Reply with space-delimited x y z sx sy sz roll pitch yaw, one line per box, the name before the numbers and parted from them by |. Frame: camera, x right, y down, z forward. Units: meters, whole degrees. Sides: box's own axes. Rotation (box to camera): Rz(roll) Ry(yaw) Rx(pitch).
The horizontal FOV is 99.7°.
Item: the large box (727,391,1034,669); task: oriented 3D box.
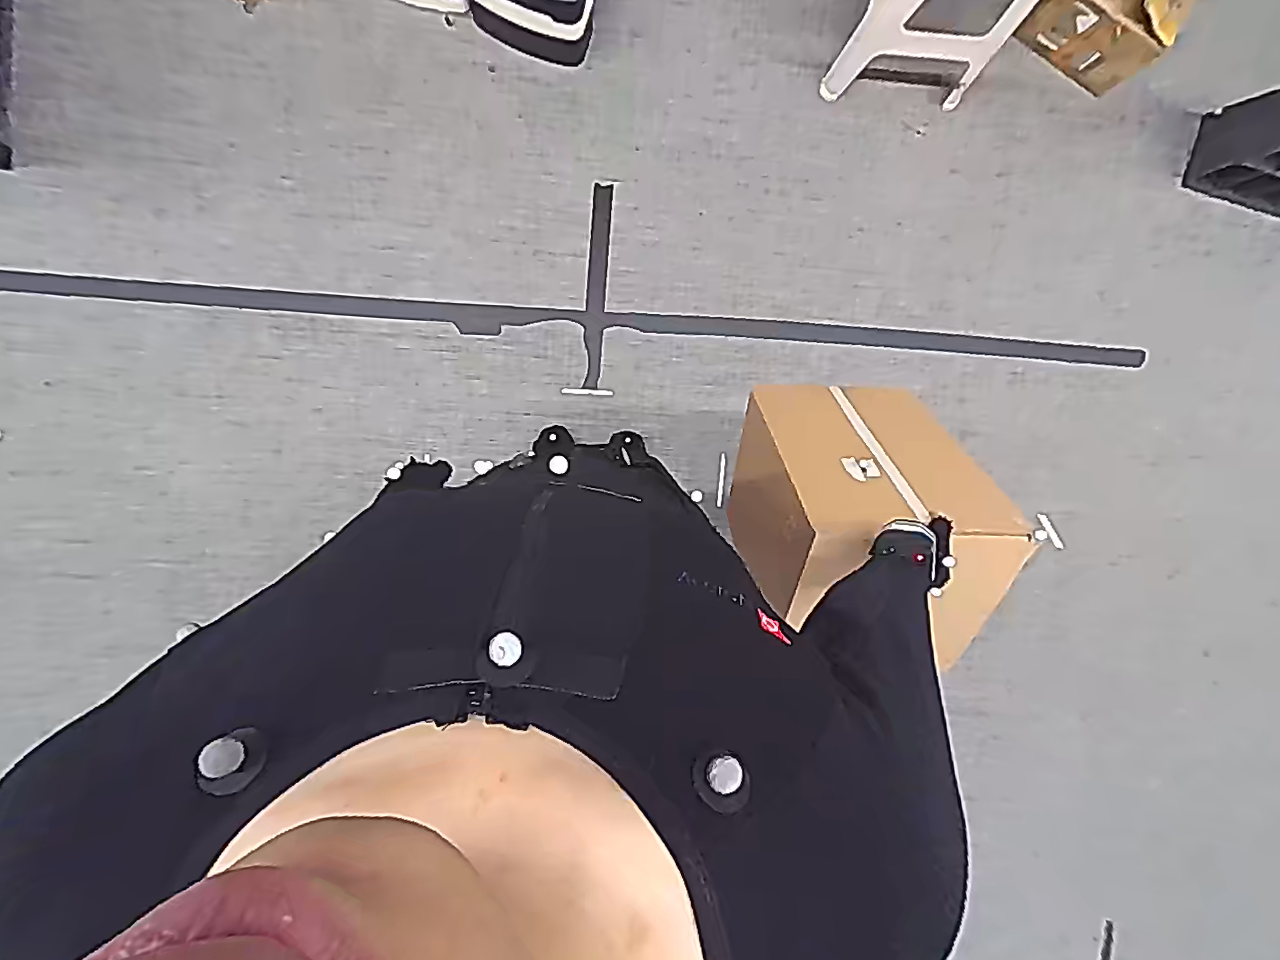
large box | 0.366 0.077 0.971 0.320 0.408 0.320 0 129 -4
